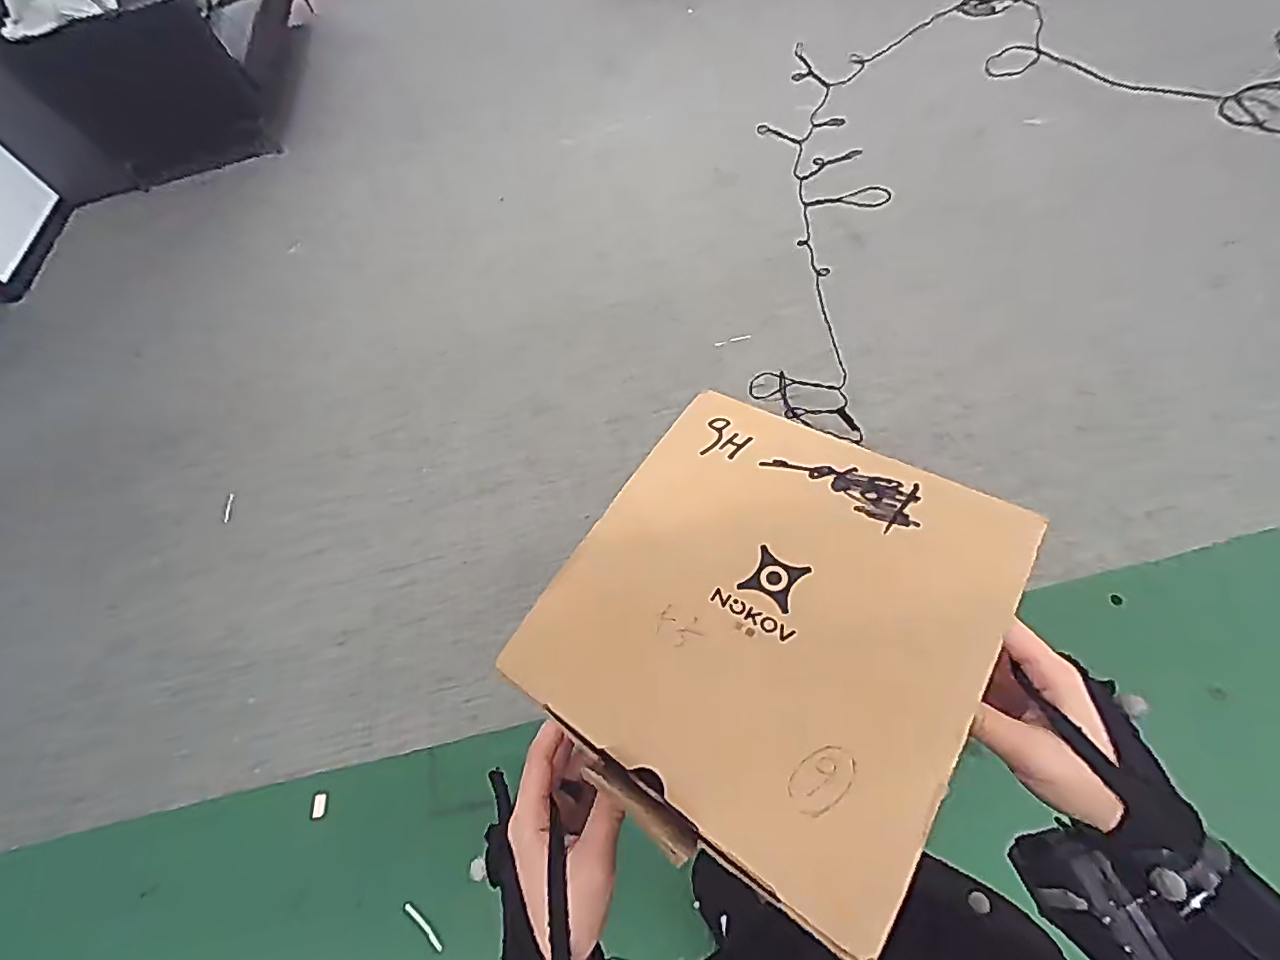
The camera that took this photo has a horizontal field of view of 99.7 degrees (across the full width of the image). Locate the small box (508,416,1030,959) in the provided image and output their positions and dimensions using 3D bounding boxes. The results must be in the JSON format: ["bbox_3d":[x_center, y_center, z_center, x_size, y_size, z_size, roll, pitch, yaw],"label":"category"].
[{"bbox_3d":[0.068,0.102,0.299,0.168,0.176,0.179,26,67,27],"label":"small box"}]
